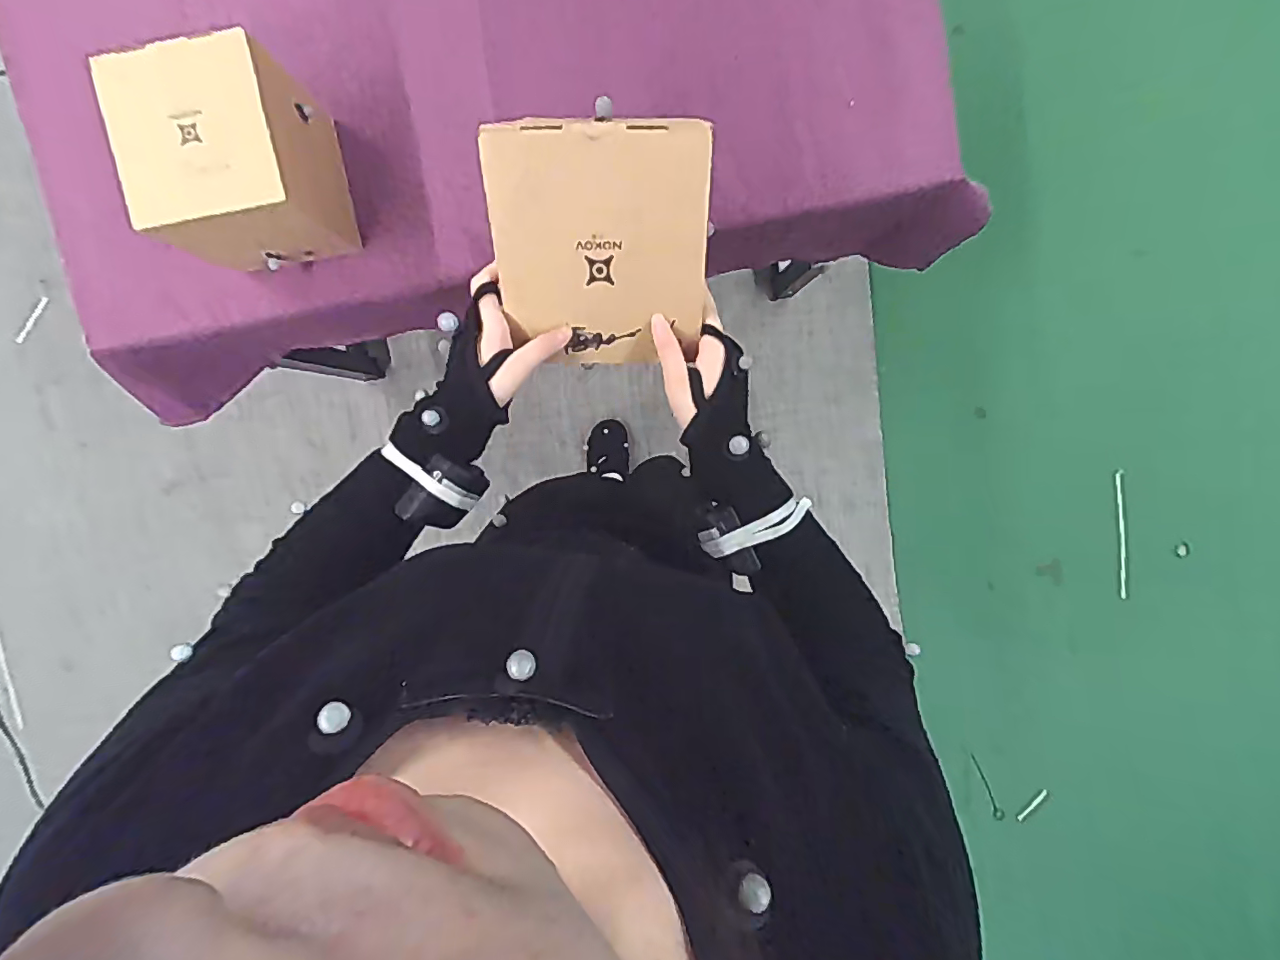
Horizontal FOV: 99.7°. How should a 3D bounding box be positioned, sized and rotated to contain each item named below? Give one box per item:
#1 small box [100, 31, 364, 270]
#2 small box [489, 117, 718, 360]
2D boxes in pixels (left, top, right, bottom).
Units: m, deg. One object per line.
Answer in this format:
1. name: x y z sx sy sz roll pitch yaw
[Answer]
1. small box: -0.461 -0.372 0.642 0.168 0.176 0.179 -10 97 1
2. small box: -0.026 -0.223 0.492 0.168 0.176 0.179 1 124 2
